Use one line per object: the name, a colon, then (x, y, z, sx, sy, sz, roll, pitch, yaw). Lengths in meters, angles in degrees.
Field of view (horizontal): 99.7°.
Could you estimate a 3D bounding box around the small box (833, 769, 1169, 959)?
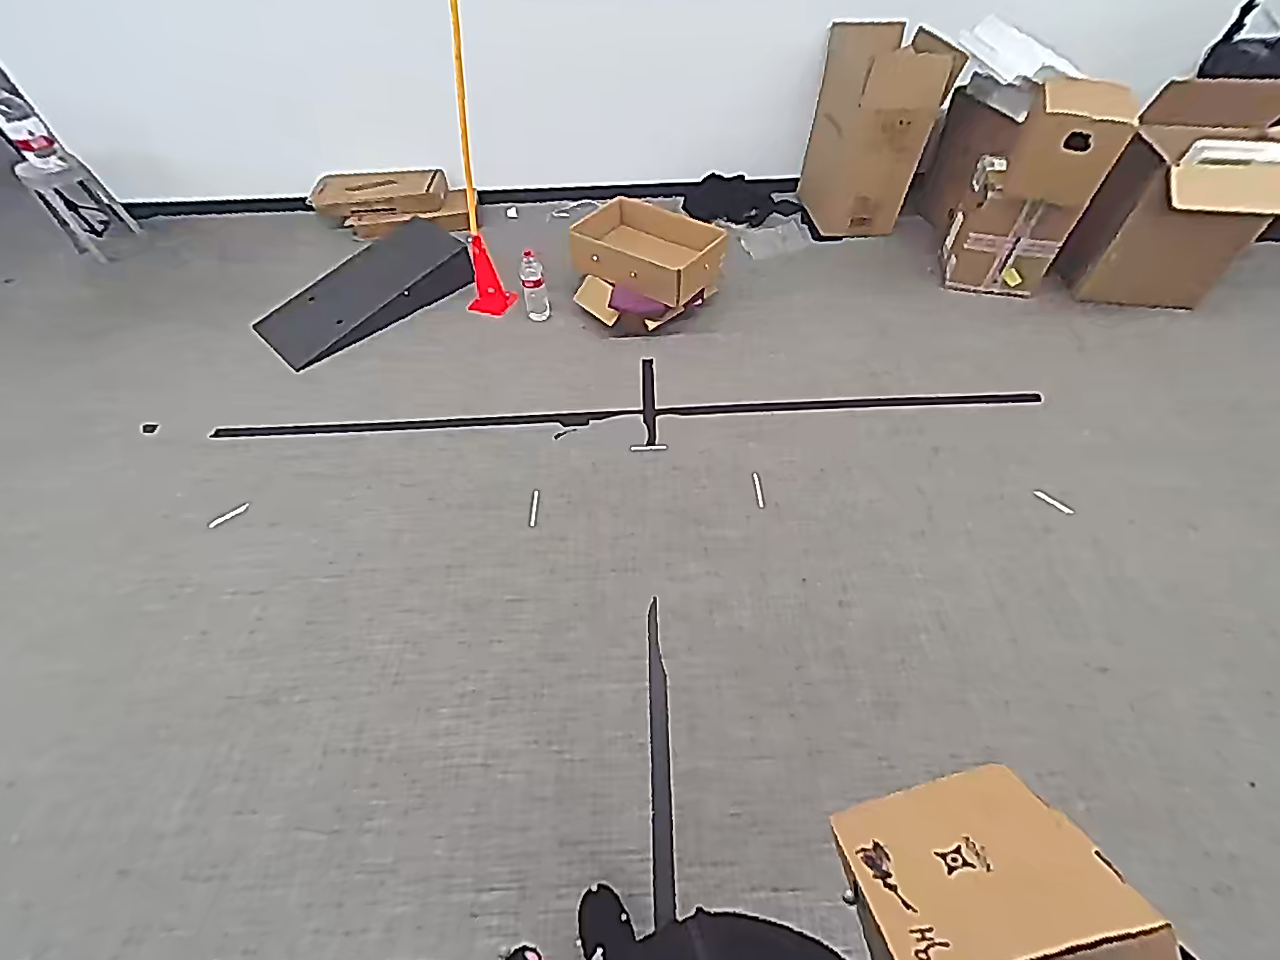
small box: (0.291, 0.389, 0.454, 0.179, 0.168, 0.176, -17, 95, 2)
